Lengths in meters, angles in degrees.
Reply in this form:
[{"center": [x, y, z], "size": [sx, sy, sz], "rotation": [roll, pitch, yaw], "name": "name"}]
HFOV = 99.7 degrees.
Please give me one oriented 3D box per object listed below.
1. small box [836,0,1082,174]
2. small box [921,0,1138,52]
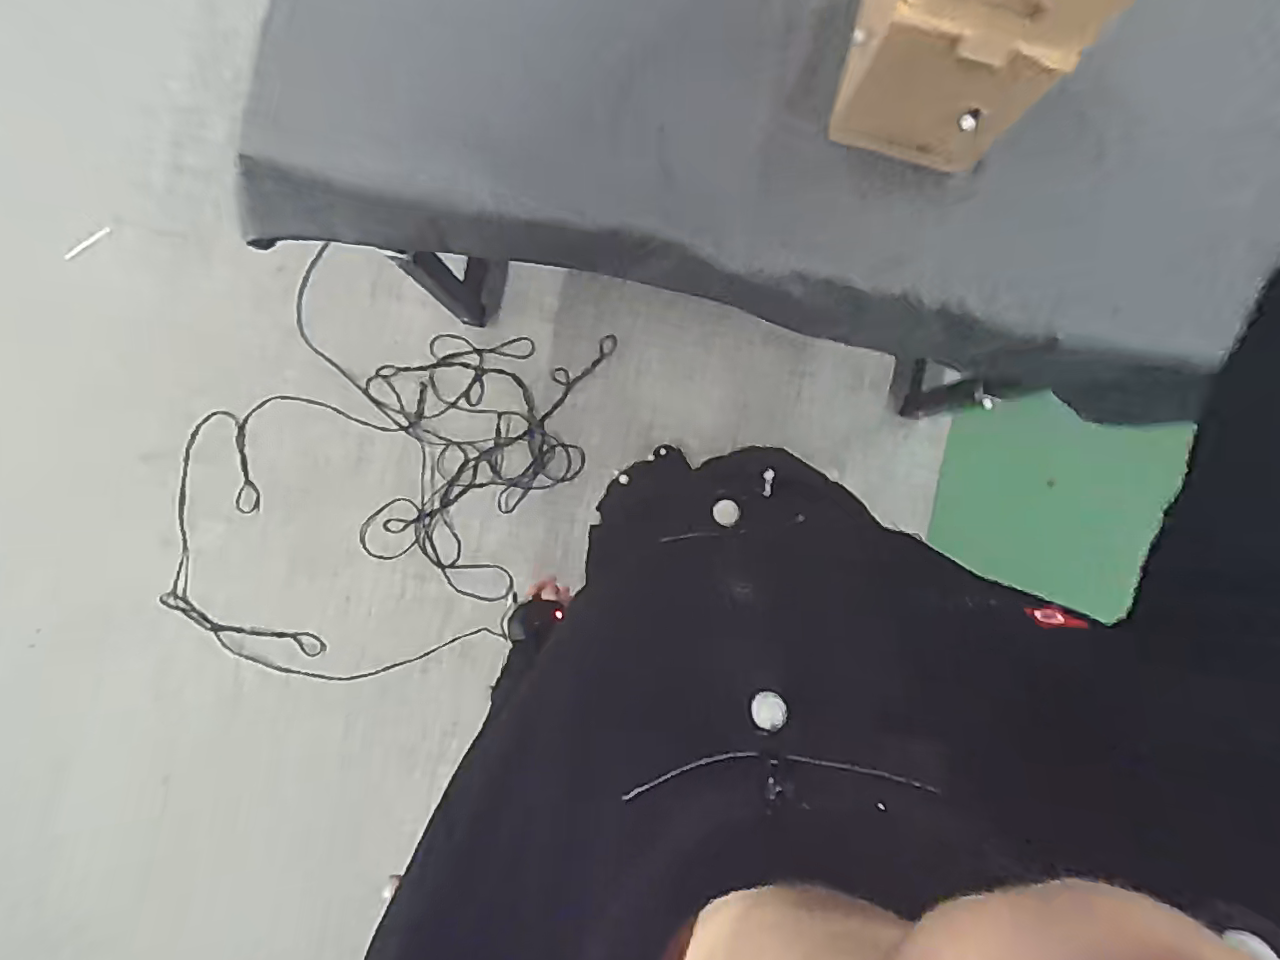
[{"center": [0.320, -0.453, 0.550], "size": [0.168, 0.176, 0.179], "rotation": [15, 88, -1], "name": "small box"}, {"center": [0.330, -0.470, 0.387], "size": [0.168, 0.176, 0.179], "rotation": [16, 90, -1], "name": "small box"}]
